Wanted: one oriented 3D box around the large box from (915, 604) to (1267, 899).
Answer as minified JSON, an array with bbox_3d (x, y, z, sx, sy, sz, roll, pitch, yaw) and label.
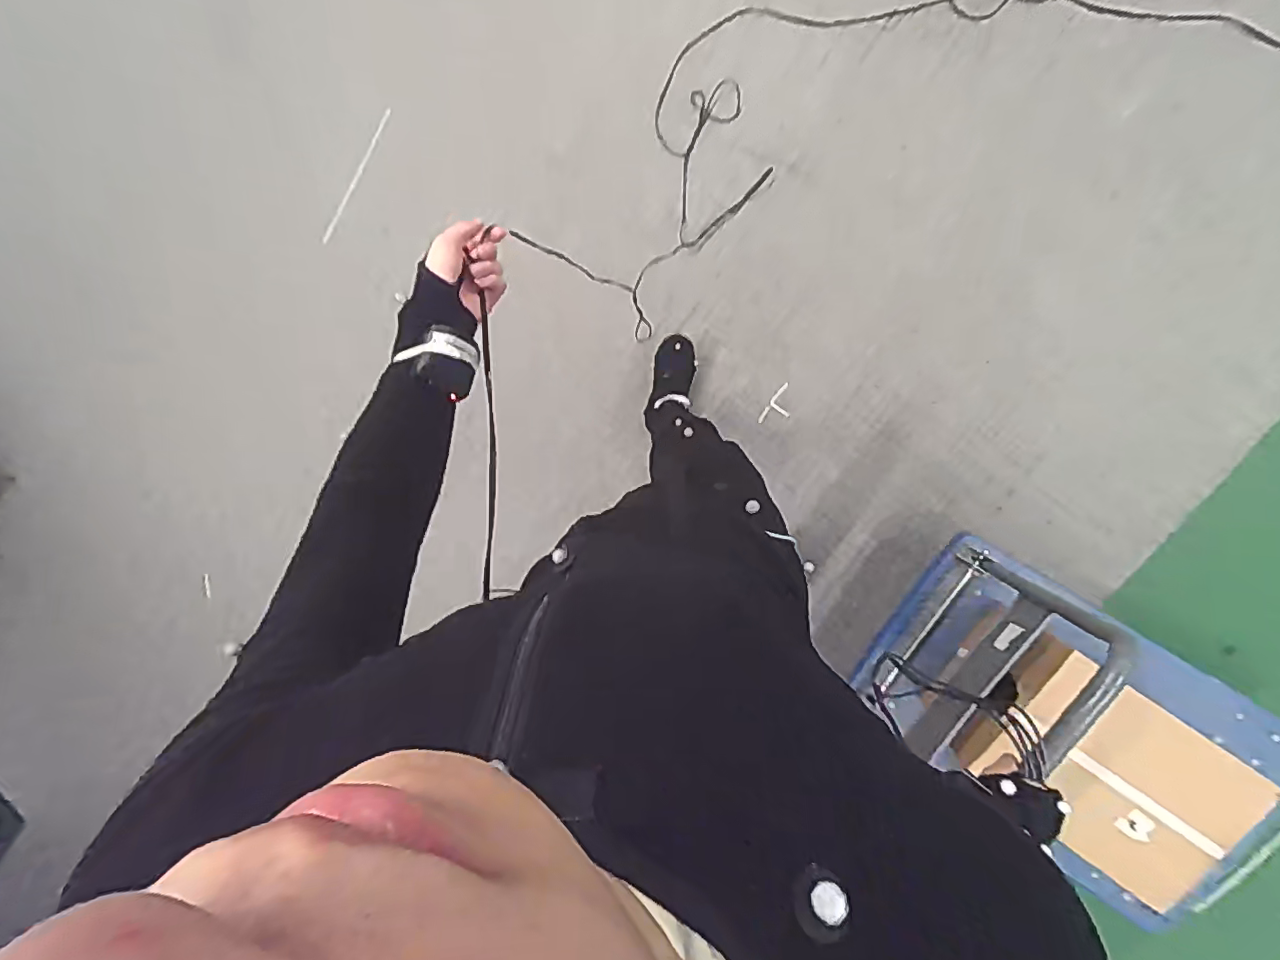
[{"bbox_3d":[0.886,0.530,1.141,0.408,0.320,0.320,35,100,7],"label":"large box"}]
